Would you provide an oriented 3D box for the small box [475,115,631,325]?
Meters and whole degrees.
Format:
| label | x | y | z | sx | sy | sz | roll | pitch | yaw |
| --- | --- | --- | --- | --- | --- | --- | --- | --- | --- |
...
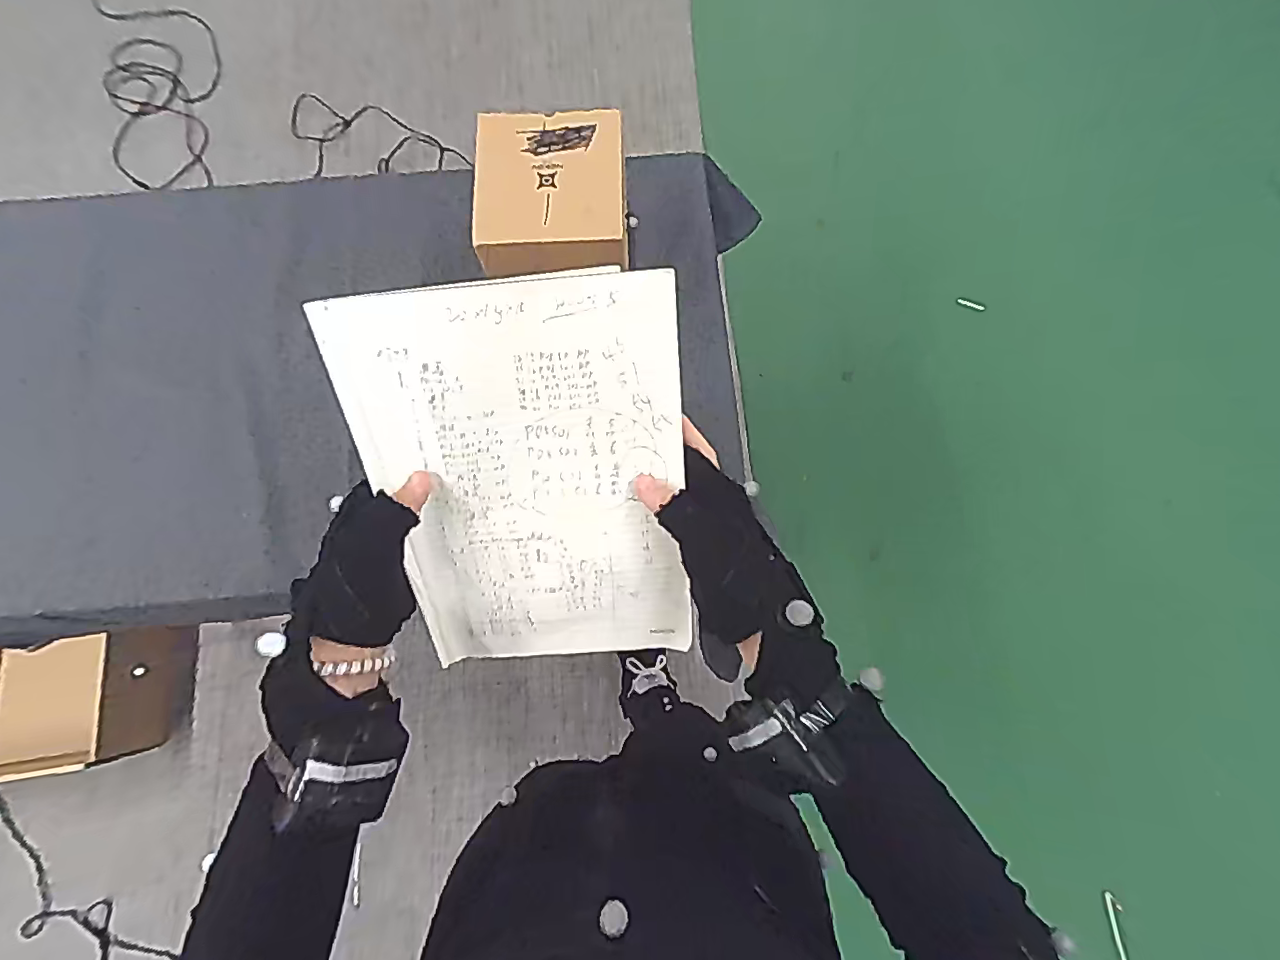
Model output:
| label | x | y | z | sx | sy | sz | roll | pitch | yaw |
| --- | --- | --- | --- | --- | --- | --- | --- | --- | --- |
| small box | -0.098 | -0.317 | 0.680 | 0.168 | 0.176 | 0.179 | -2 | 76 | 1 |
